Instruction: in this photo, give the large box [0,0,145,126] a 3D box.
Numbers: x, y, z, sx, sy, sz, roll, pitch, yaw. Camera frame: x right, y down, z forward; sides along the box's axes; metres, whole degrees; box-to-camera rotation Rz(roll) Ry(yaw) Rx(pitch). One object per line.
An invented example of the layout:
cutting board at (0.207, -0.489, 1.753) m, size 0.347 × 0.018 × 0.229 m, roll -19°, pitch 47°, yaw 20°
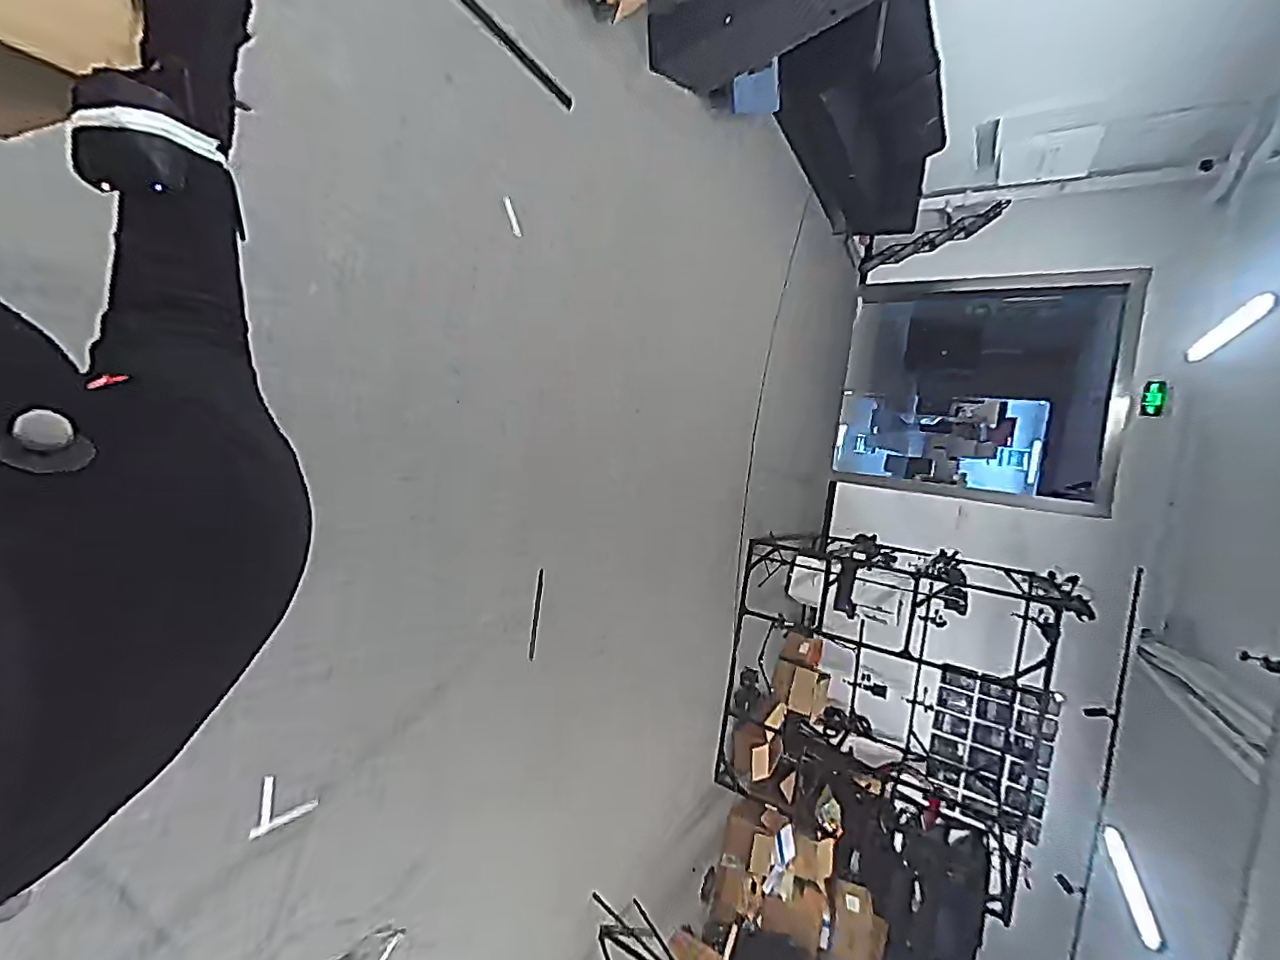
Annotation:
large box at (-0.556, -0.447, 0.262) m, size 0.408 × 0.320 × 0.320 m, roll -3°, pitch 106°, yaw -62°
